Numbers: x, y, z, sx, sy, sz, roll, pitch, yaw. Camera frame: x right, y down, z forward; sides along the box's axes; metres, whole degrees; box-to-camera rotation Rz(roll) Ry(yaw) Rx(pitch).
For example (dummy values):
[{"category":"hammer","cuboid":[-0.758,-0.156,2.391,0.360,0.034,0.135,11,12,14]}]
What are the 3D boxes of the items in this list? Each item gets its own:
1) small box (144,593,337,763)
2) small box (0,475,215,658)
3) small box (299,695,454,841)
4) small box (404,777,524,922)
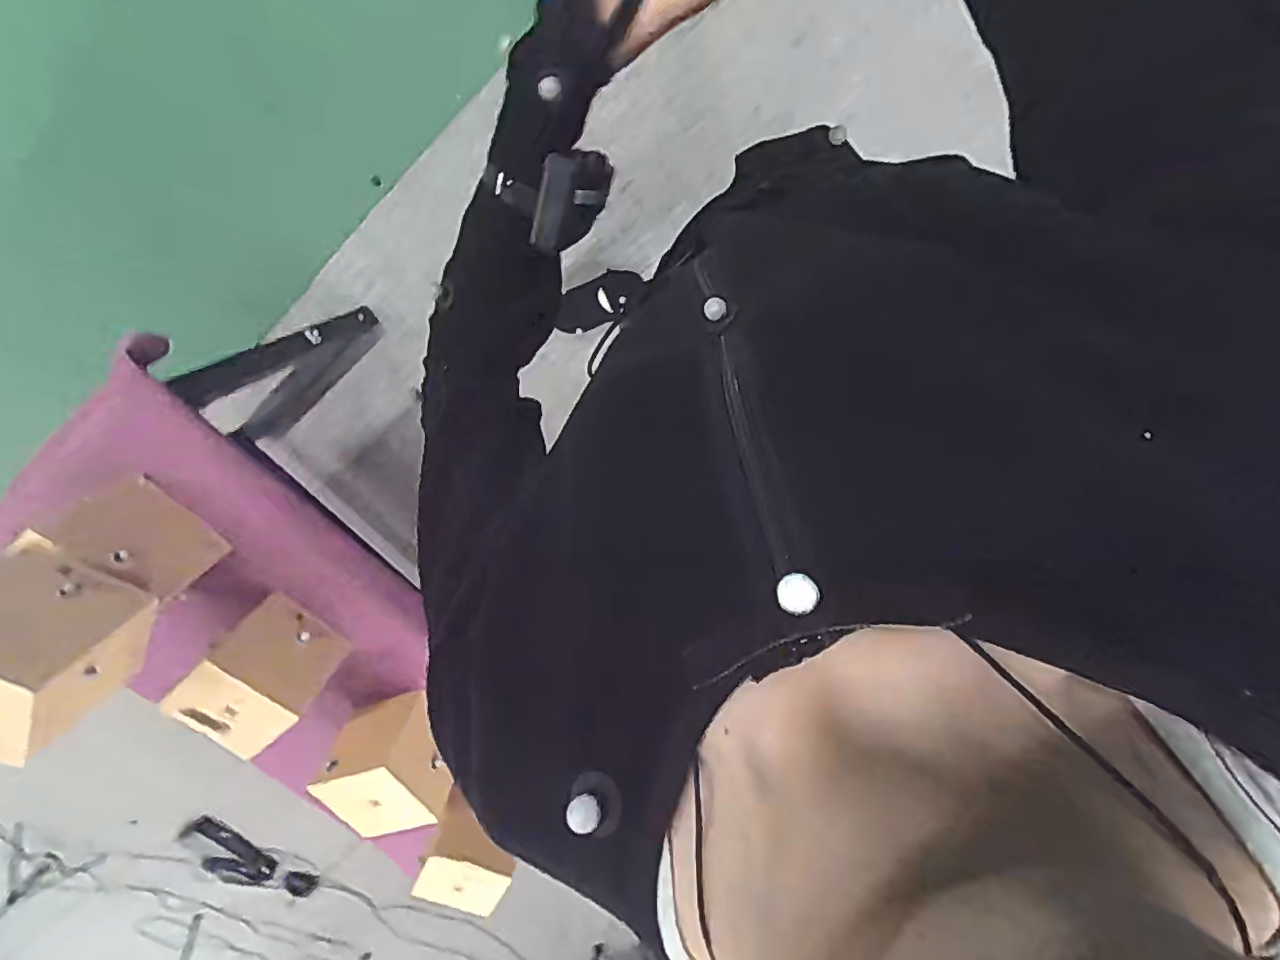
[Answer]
[{"category":"small box","cuboid":[-0.656,0.329,0.911,0.179,0.176,0.168,-38,110,20]},{"category":"small box","cuboid":[-0.805,0.124,0.811,0.168,0.176,0.179,-32,112,19]},{"category":"small box","cuboid":[-0.473,0.531,1.009,0.179,0.176,0.168,-21,115,15]},{"category":"small box","cuboid":[-0.356,0.760,1.118,0.168,0.176,0.179,23,116,-9]}]
